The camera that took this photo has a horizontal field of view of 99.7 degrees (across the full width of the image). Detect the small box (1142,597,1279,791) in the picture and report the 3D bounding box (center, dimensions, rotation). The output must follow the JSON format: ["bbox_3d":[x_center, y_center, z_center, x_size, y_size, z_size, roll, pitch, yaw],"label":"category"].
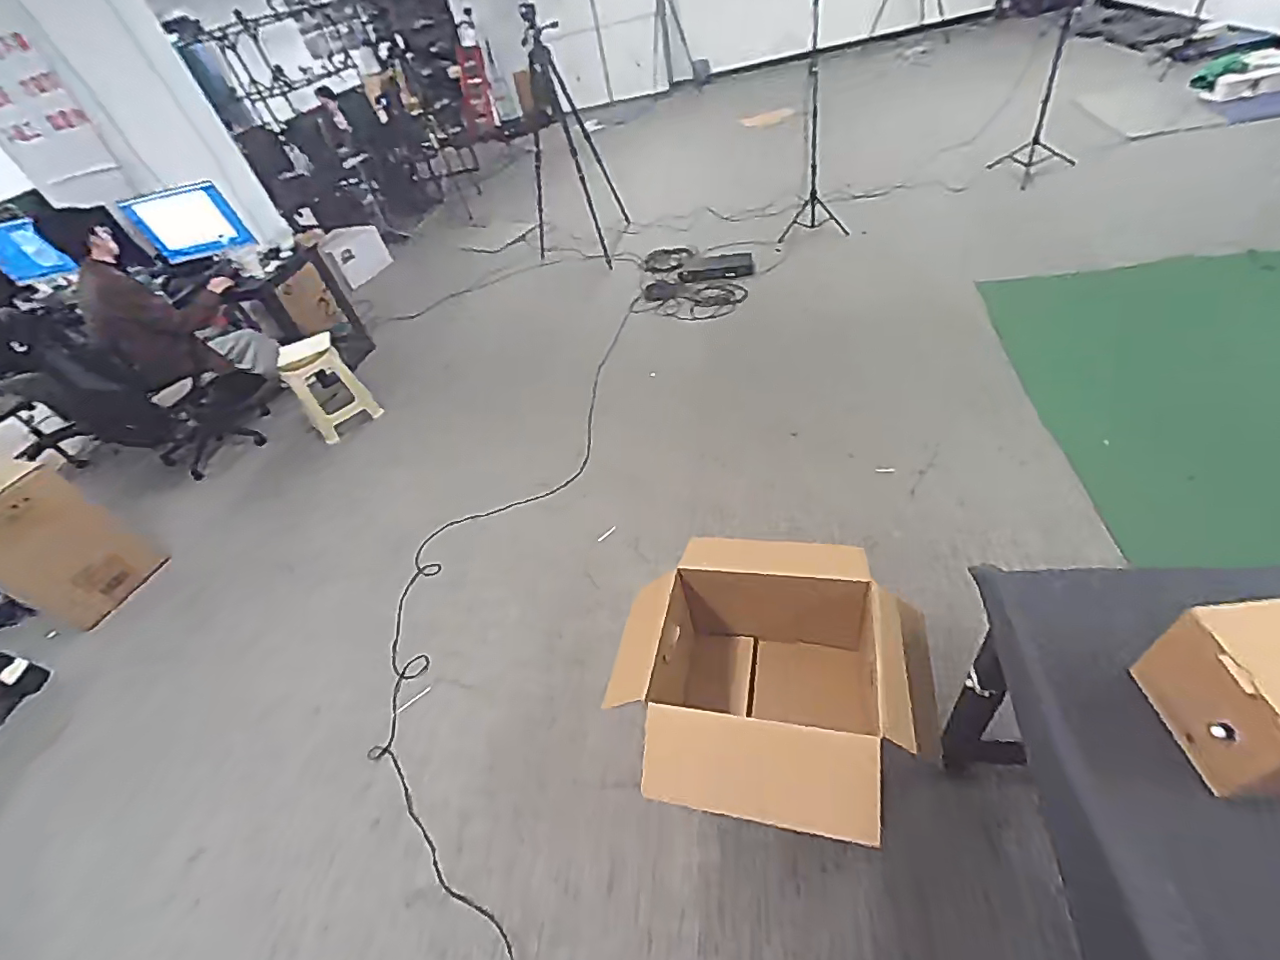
[{"bbox_3d":[0.758,0.254,0.641,0.179,0.176,0.168,-7,45,6],"label":"small box"}]
